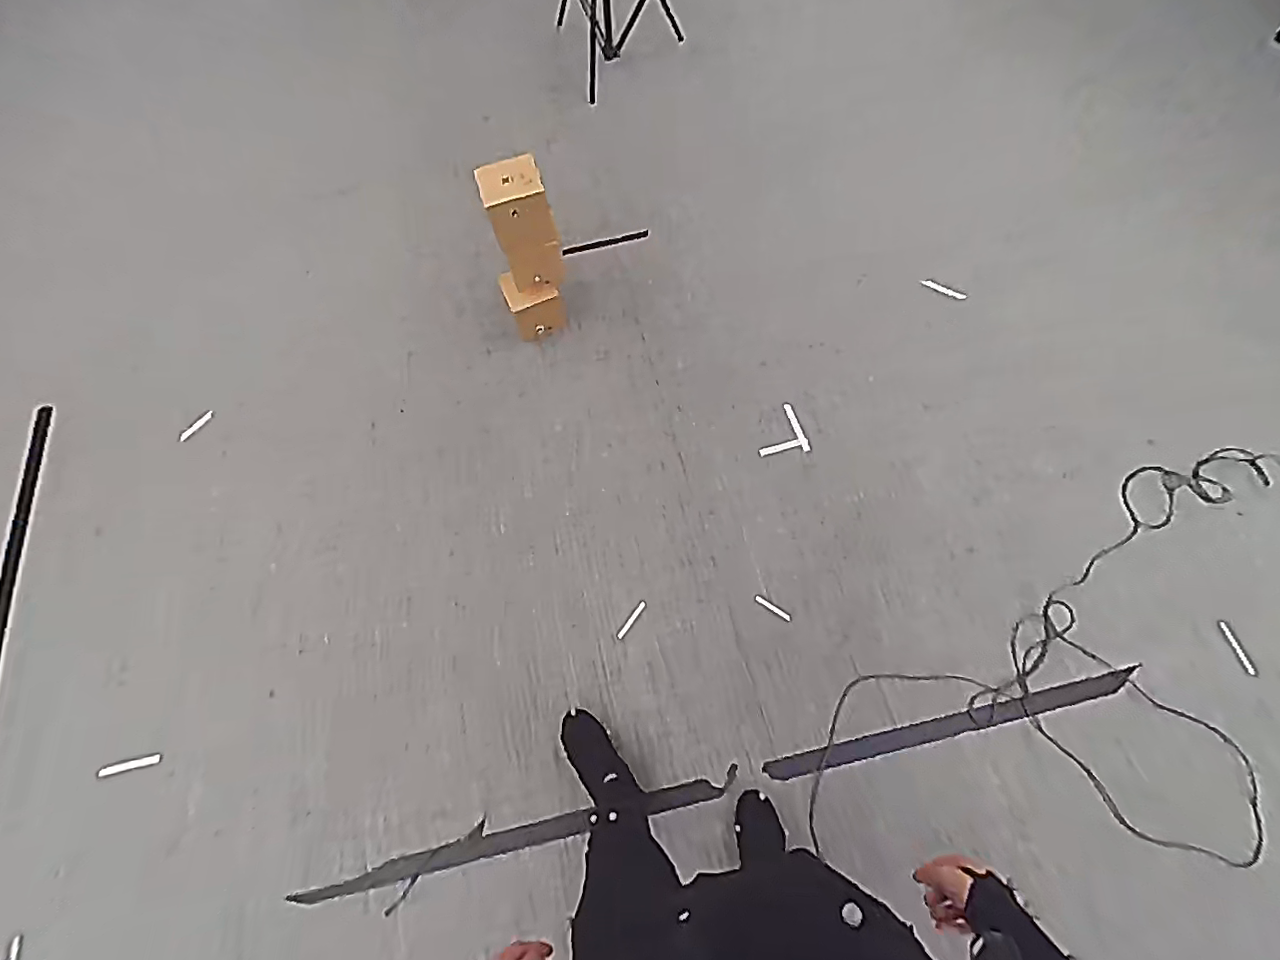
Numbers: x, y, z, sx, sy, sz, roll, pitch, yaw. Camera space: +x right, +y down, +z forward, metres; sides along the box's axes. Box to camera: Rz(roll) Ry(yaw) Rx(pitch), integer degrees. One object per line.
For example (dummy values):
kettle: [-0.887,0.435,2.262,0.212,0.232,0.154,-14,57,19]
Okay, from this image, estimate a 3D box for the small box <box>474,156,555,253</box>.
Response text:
small box: [-0.362,-0.795,1.576,0.179,0.176,0.168,-17,67,-4]

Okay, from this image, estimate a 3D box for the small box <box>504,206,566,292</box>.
small box: [-0.340,-0.734,1.728,0.168,0.176,0.179,-11,67,-1]

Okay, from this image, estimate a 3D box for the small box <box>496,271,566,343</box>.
small box: [-0.369,-0.606,1.852,0.168,0.176,0.179,-24,68,-7]
